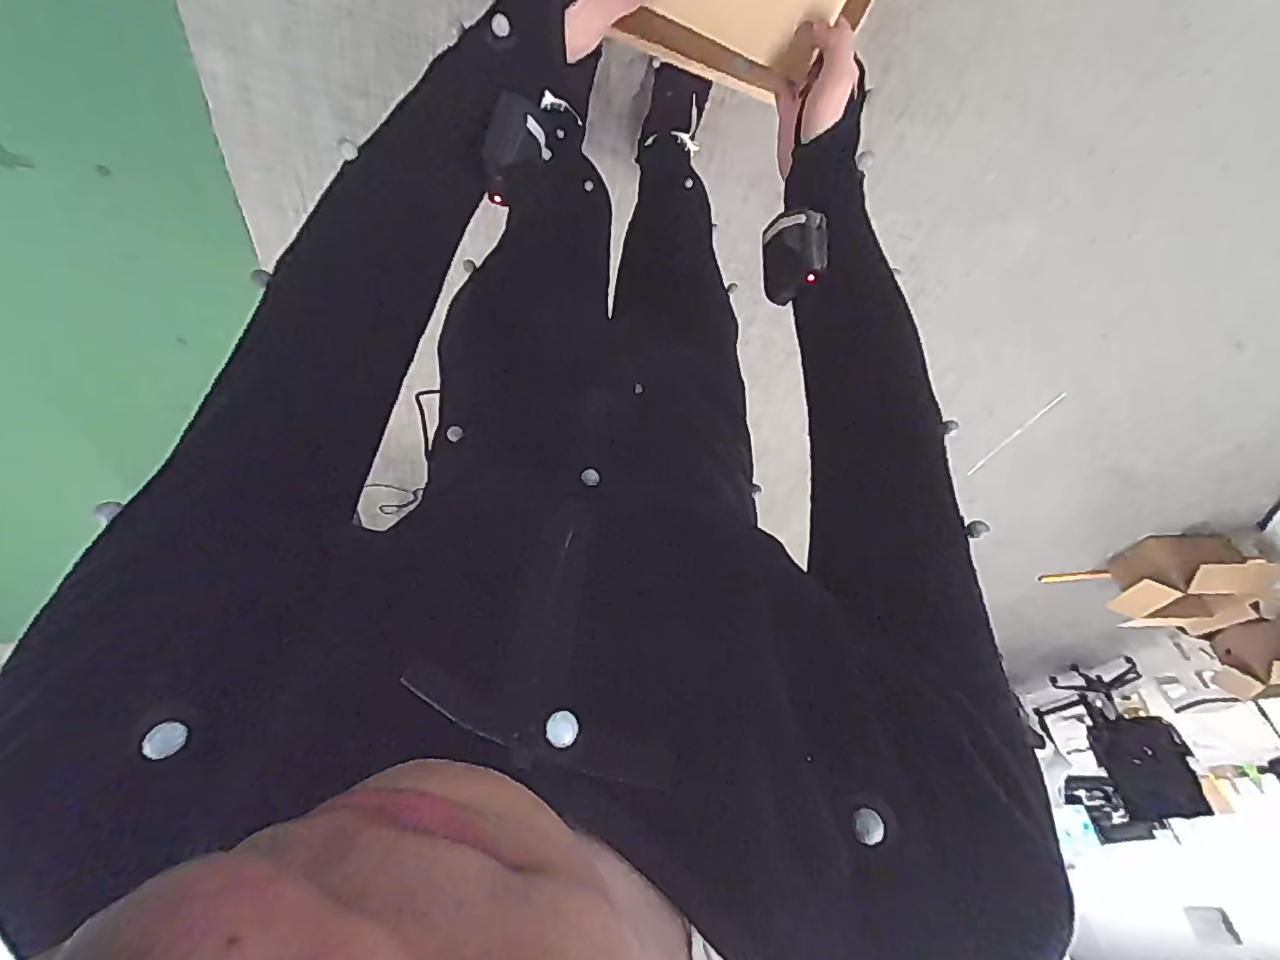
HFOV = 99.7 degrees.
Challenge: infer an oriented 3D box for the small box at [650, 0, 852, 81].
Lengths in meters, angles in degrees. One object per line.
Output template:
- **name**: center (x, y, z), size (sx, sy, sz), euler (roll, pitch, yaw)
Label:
- **small box**: center (0.096, -0.482, 0.445), size (0.179, 0.176, 0.168), euler (11, 140, -20)
